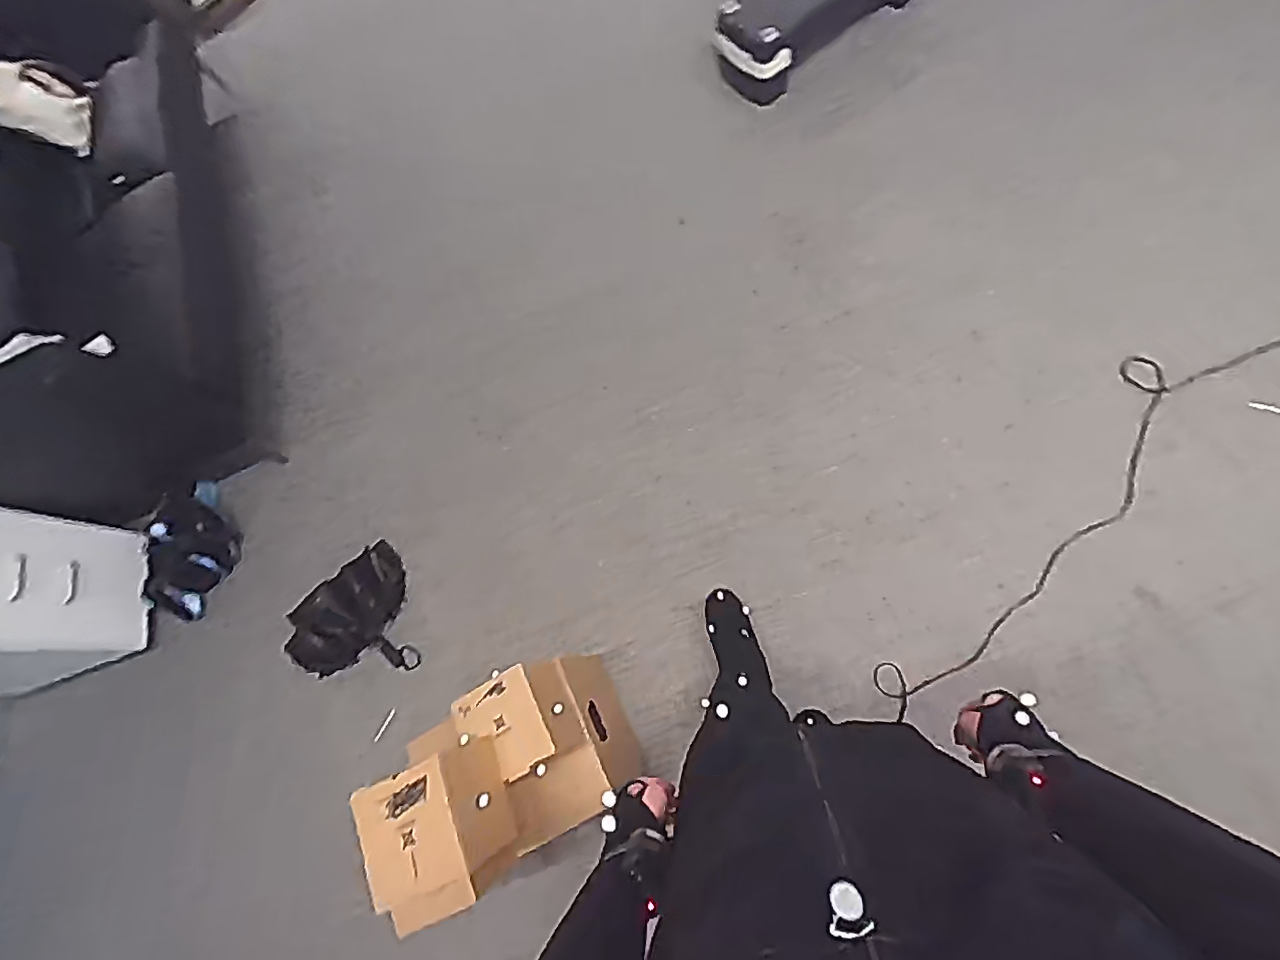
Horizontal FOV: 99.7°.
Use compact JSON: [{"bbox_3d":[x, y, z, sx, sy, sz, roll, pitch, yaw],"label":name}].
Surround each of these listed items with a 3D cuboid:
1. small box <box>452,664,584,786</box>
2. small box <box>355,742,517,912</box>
[{"bbox_3d":[-0.235,0.485,1.079,0.168,0.176,0.179,-32,68,3],"label":"small box"},{"bbox_3d":[-0.334,0.561,0.905,0.168,0.176,0.179,-27,71,6],"label":"small box"}]
